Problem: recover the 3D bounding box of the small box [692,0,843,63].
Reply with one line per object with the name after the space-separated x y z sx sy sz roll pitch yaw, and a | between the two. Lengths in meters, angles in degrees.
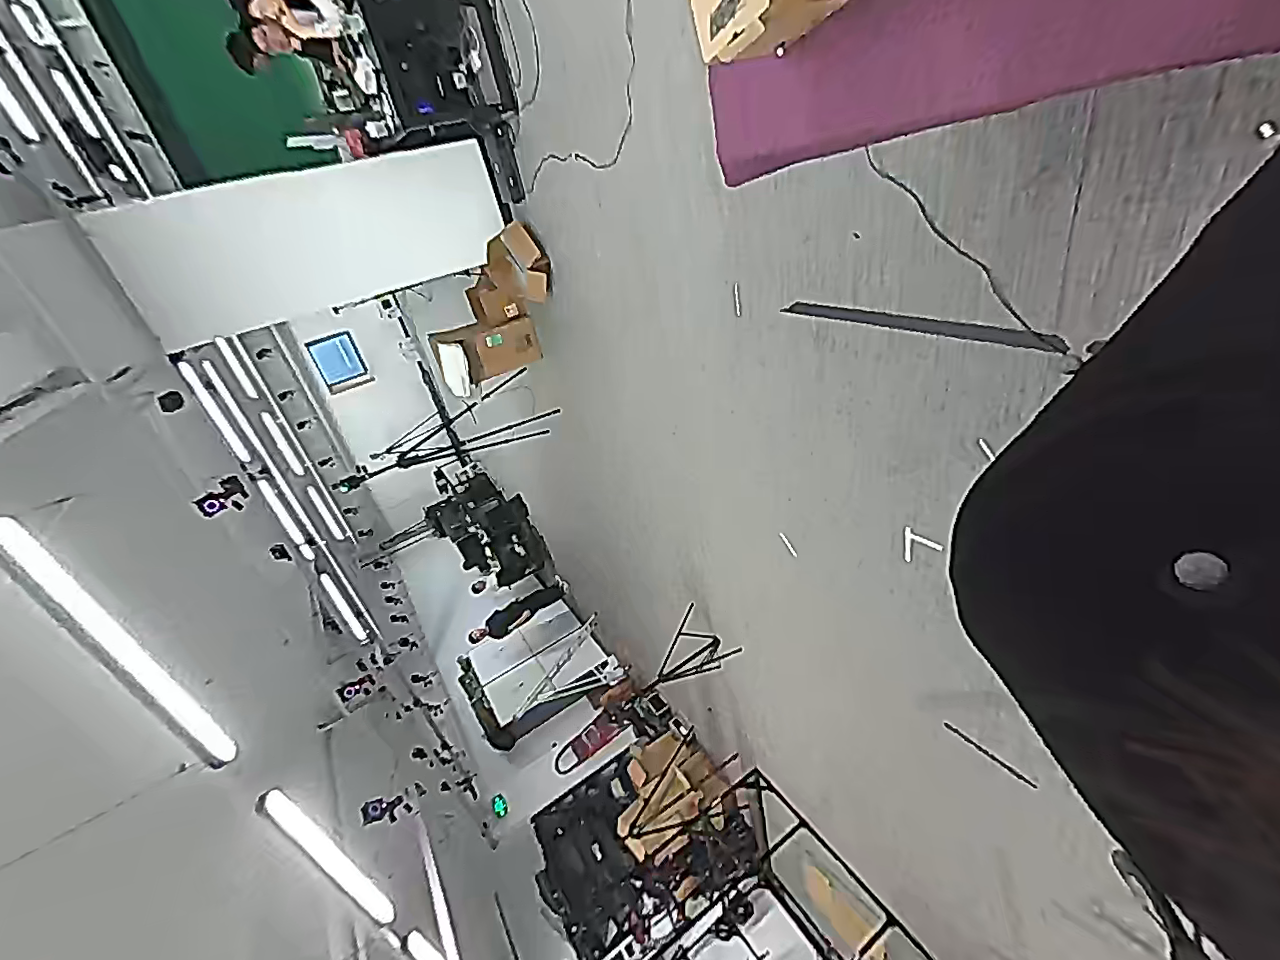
0.193 -0.790 0.832 0.168 0.176 0.179 18 130 60 | small box
